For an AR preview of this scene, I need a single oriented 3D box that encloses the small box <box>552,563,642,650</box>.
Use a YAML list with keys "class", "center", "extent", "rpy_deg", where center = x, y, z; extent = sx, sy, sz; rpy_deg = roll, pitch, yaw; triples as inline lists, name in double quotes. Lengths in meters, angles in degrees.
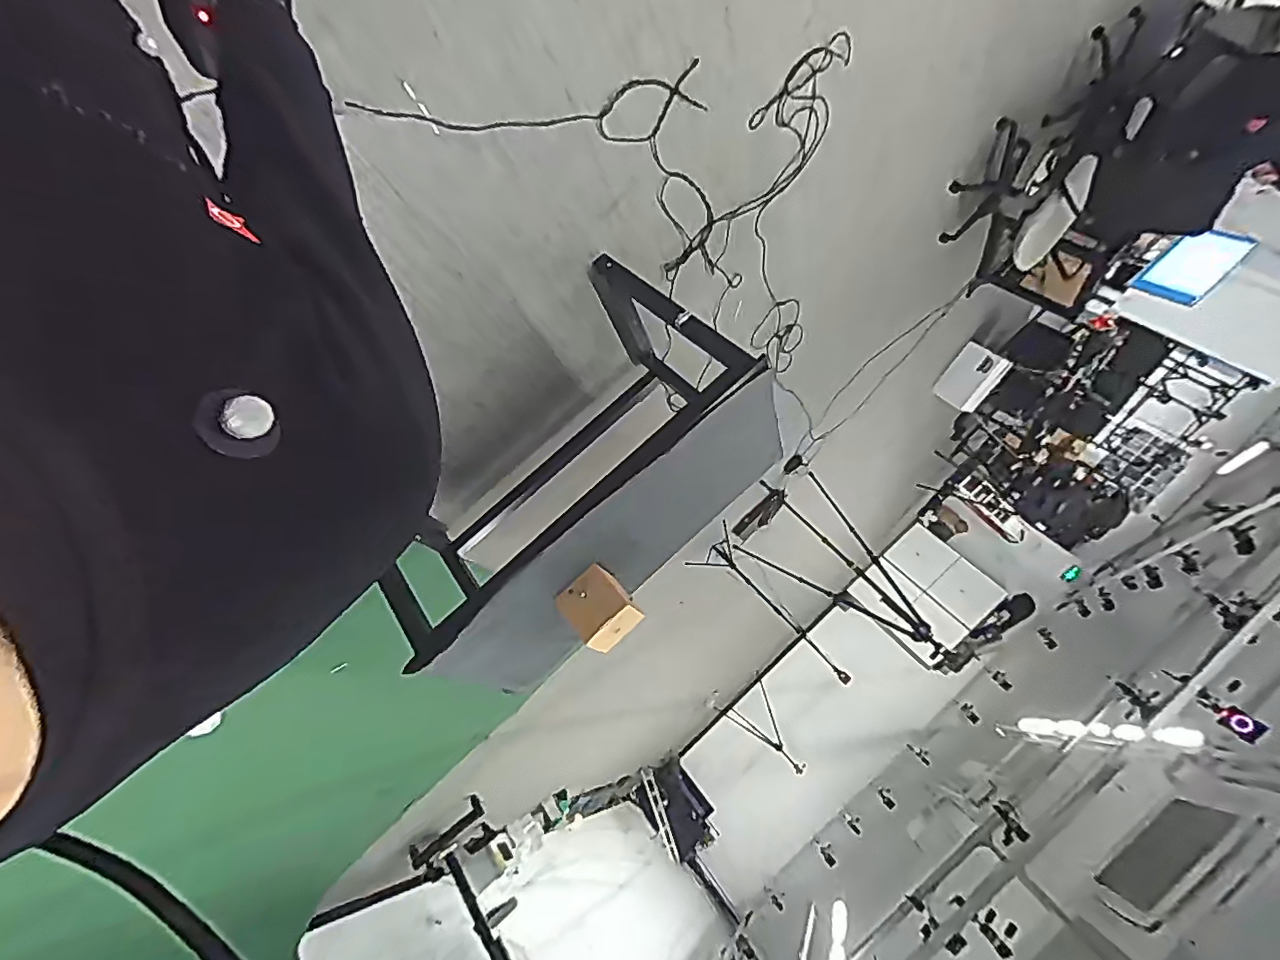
- class: "small box"
  center: [-0.127, 0.370, 1.590]
  extent: [0.168, 0.176, 0.179]
  rpy_deg: [-42, 150, -4]
